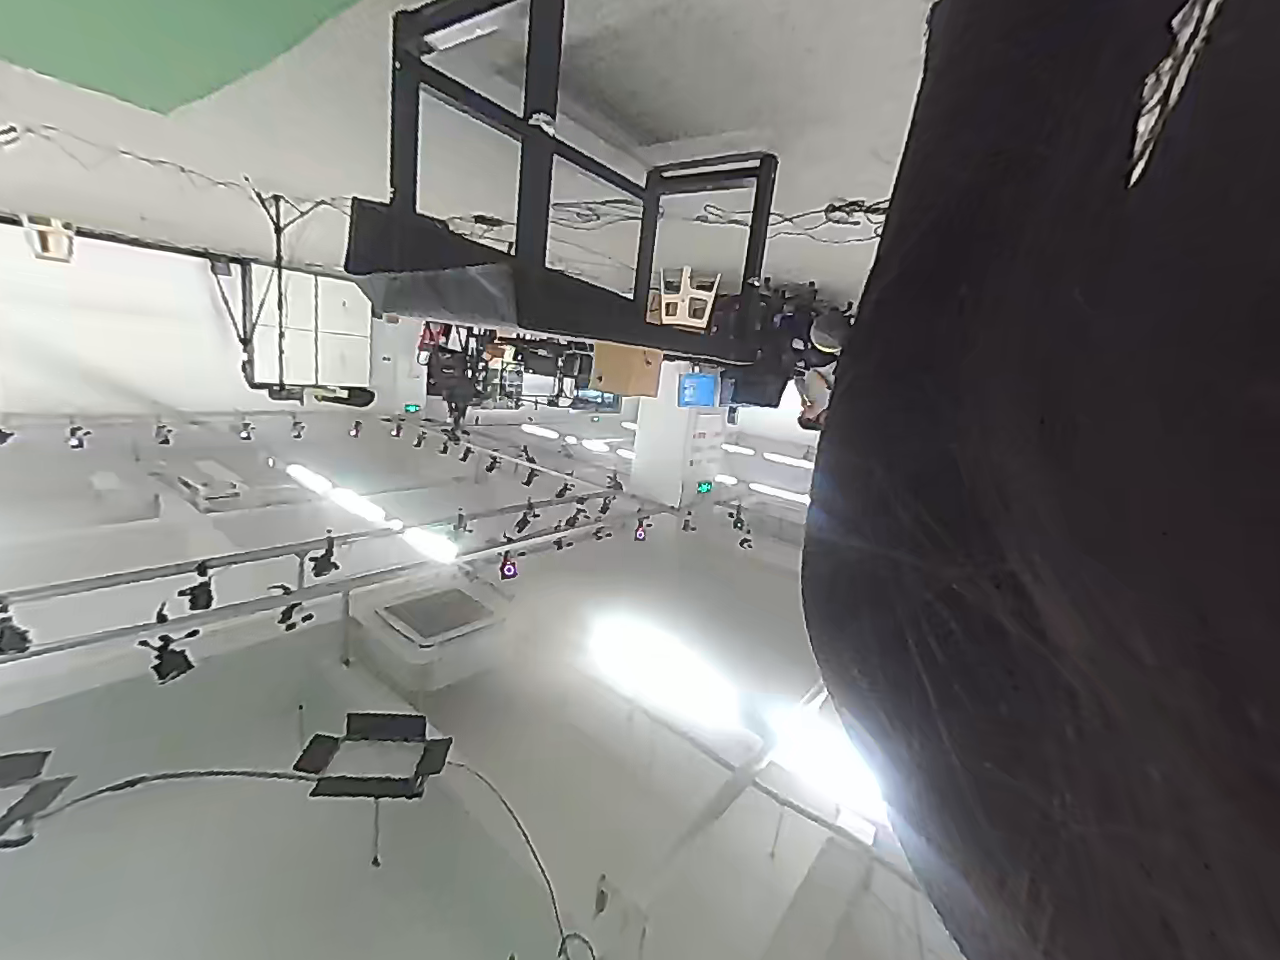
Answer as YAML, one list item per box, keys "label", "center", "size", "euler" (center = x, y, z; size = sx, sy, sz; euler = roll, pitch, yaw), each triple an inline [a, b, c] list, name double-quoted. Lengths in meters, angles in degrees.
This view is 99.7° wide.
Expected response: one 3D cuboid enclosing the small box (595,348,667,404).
- label: "small box"
  center: [-0.027, -0.358, 1.842]
  size: [0.179, 0.176, 0.168]
  euler: [17, -164, 36]
